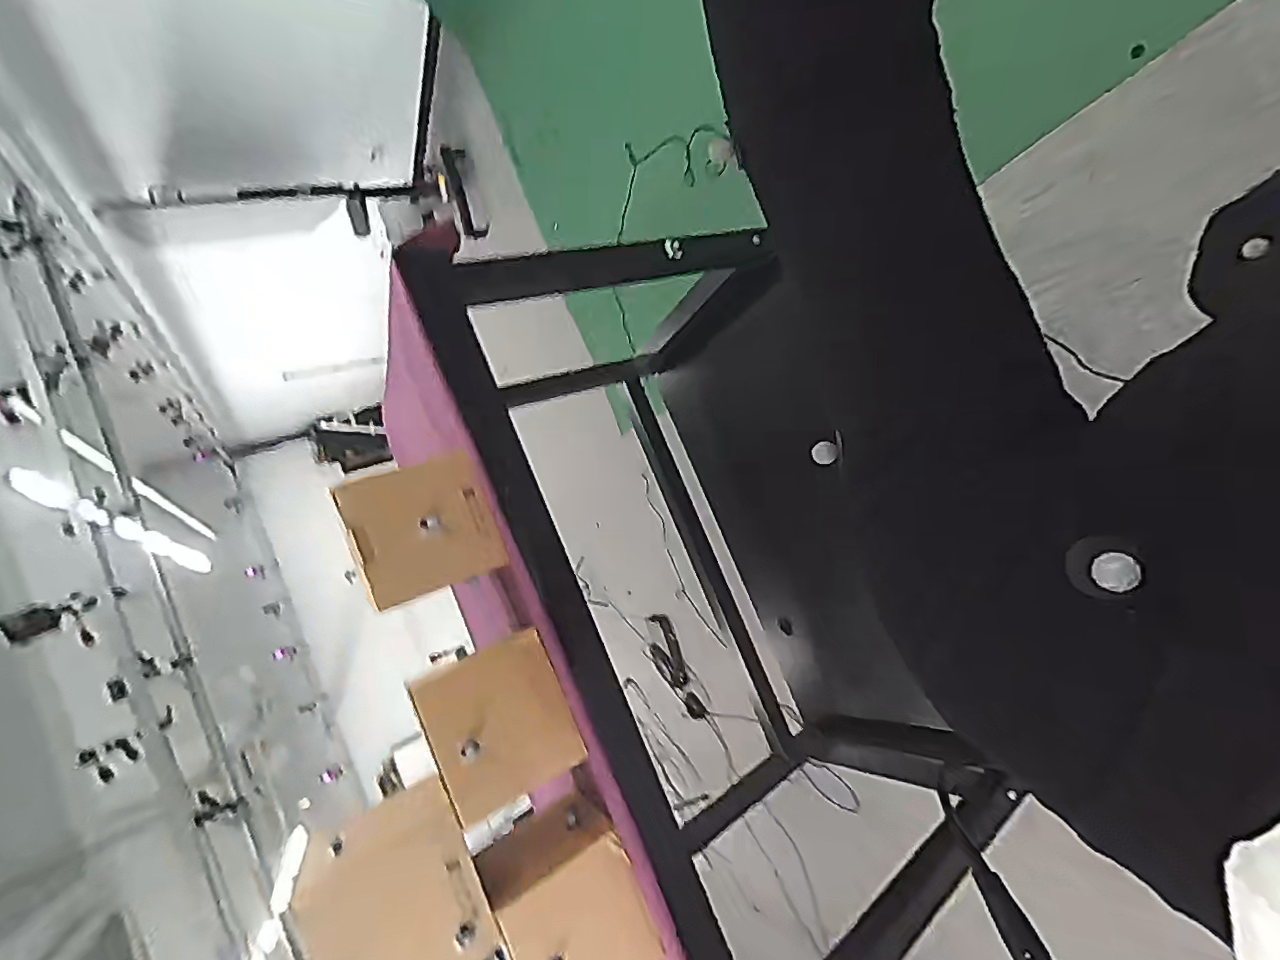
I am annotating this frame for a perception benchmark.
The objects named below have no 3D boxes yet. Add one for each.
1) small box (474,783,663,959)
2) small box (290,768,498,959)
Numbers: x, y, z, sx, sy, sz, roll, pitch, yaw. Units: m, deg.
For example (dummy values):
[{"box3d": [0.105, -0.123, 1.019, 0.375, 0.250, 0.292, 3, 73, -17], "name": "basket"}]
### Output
[{"box3d": [-0.095, 0.540, 0.700, 0.168, 0.176, 0.179, -23, 86, 60], "name": "small box"}, {"box3d": [-0.283, 0.475, 0.642, 0.179, 0.176, 0.168, -32, 80, 61], "name": "small box"}]
